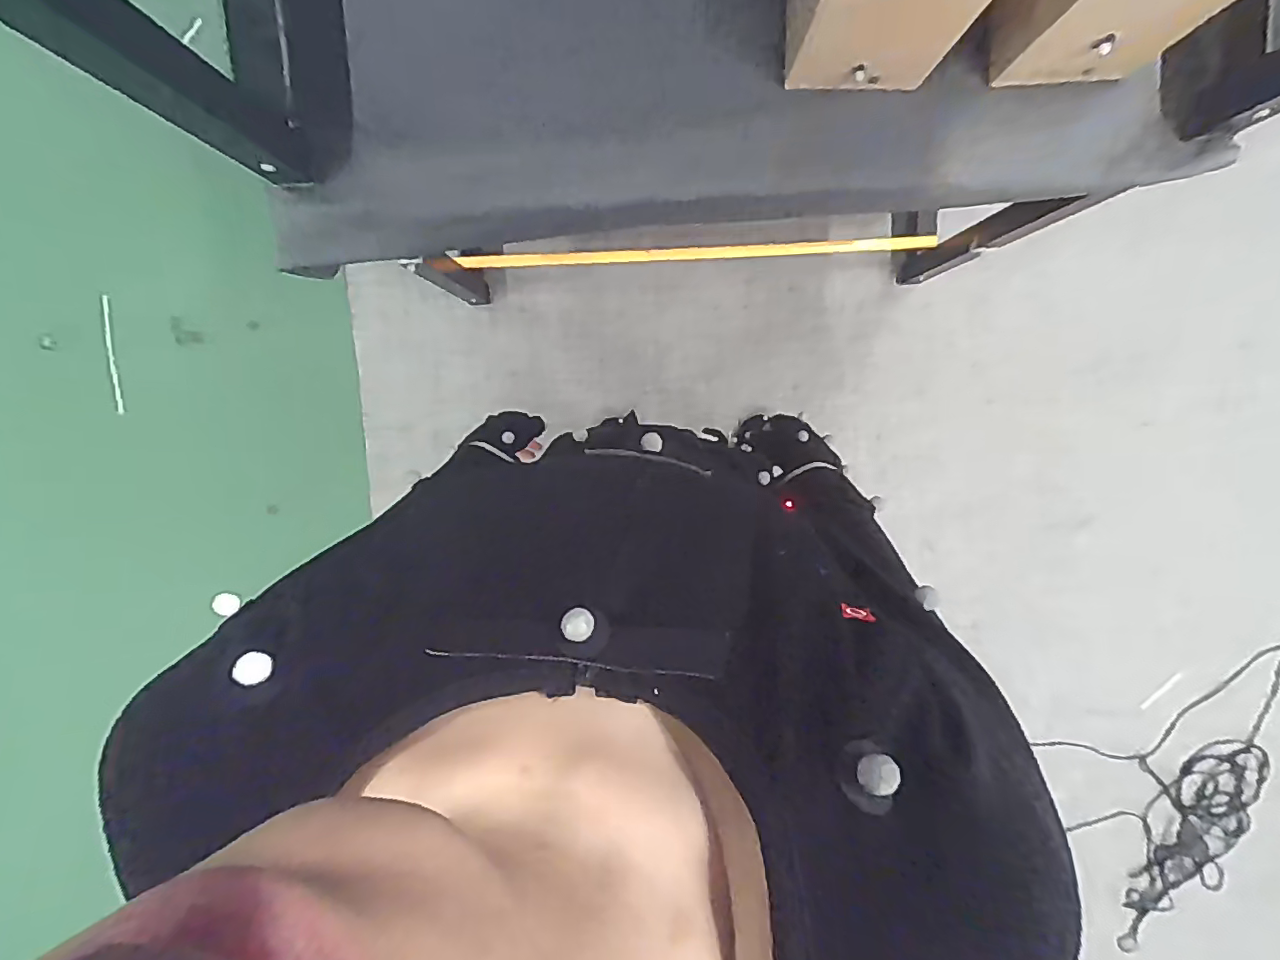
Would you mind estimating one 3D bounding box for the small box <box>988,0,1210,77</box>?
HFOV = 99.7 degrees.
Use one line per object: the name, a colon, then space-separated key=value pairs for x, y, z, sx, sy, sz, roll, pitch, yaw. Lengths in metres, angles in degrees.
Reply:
small box: x=0.502 y=-0.566 z=0.576 sx=0.168 sy=0.176 sz=0.179 roll=-3 pitch=97 yaw=1
